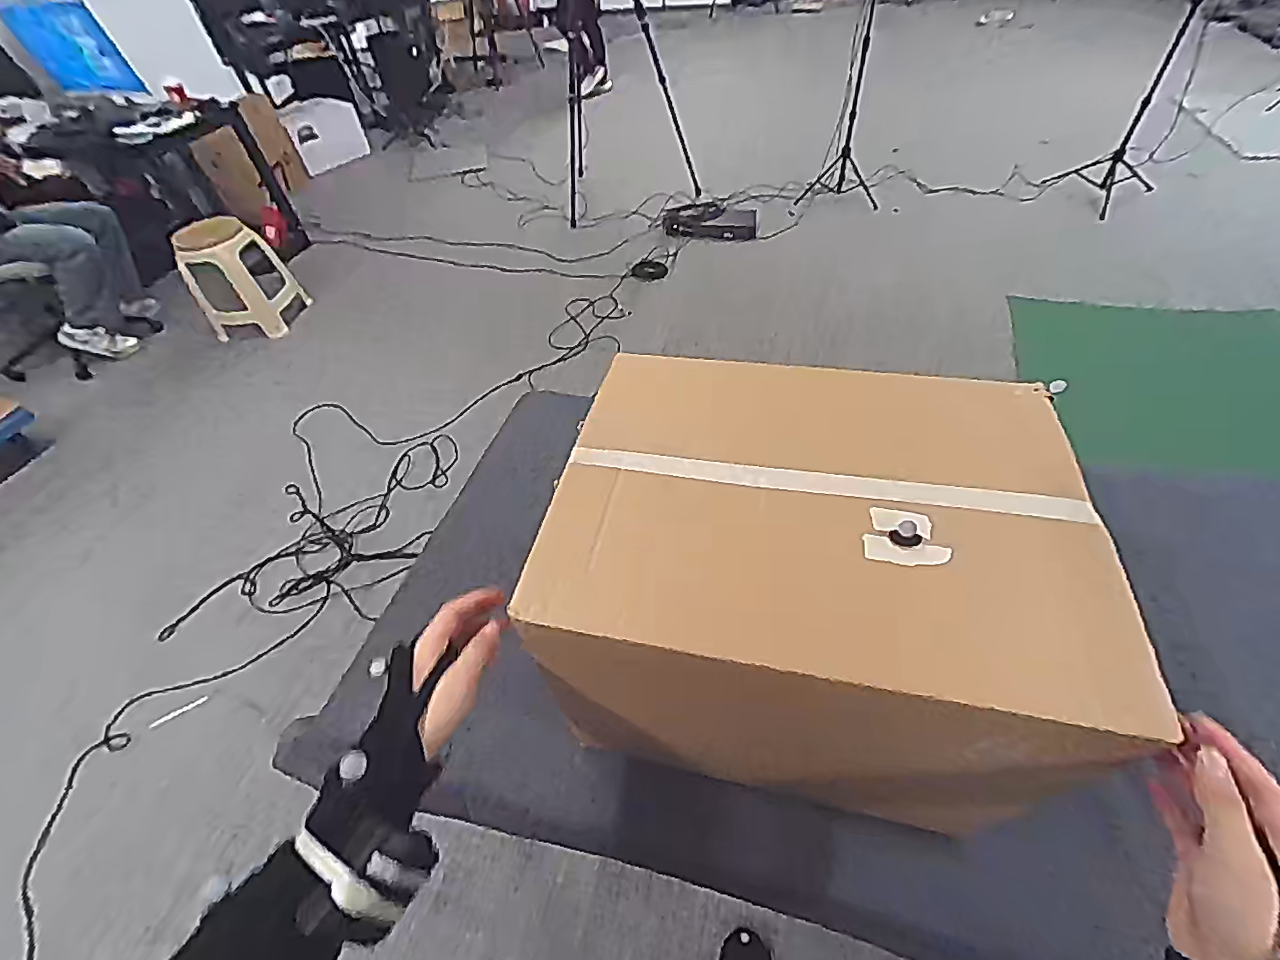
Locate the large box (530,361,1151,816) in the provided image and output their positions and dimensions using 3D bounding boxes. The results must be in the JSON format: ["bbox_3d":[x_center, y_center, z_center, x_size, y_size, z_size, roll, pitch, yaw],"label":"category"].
[{"bbox_3d":[0.149,0.105,0.560,0.408,0.320,0.320,7,50,11],"label":"large box"}]
